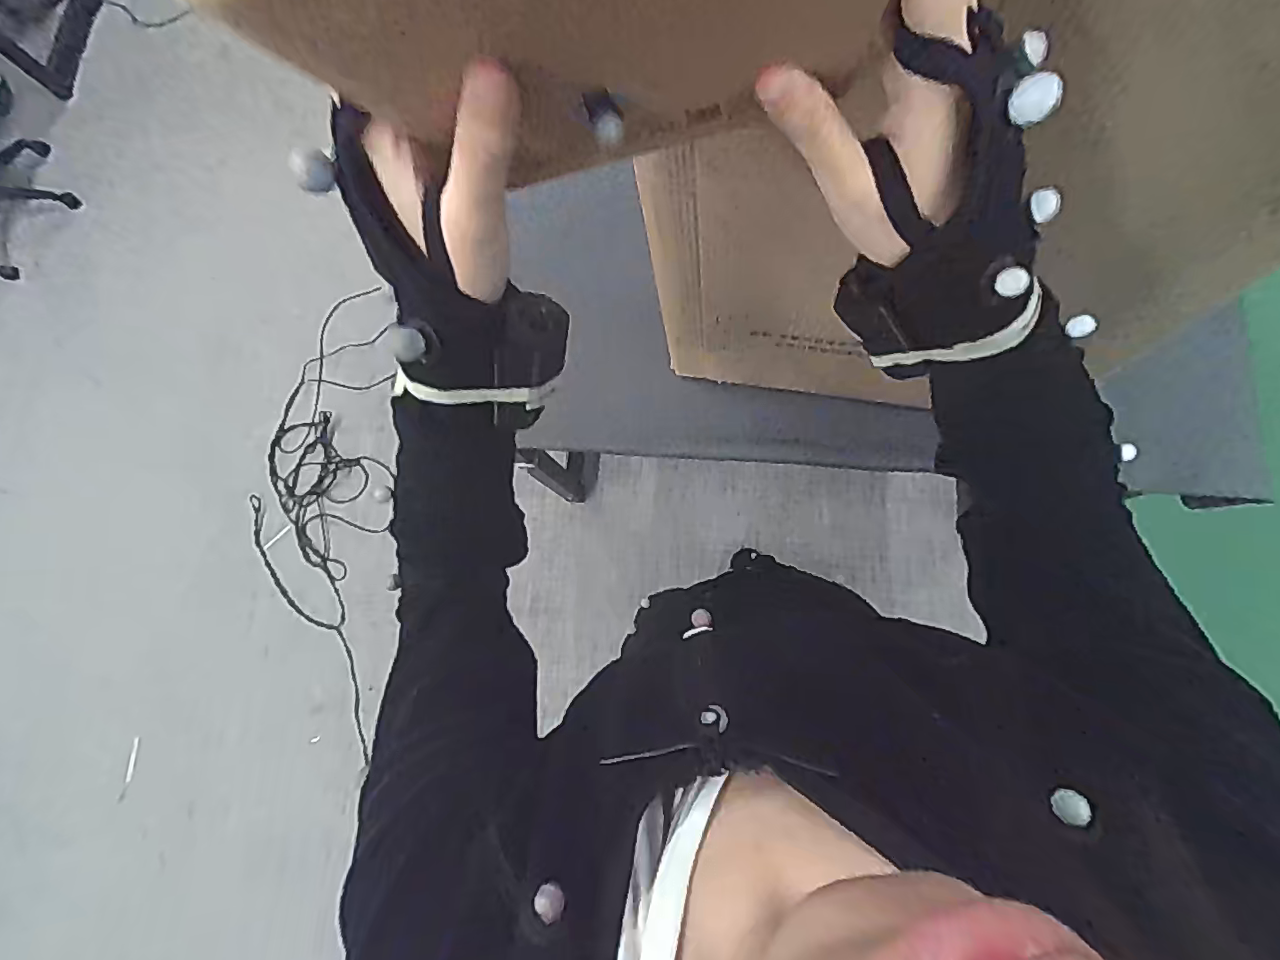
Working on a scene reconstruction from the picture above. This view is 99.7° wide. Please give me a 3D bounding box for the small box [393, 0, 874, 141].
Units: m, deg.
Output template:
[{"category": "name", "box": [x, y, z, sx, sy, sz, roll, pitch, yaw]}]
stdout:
[{"category": "small box", "box": [-0.011, -0.236, 0.157, 0.168, 0.176, 0.179, -7, 105, 12]}]
